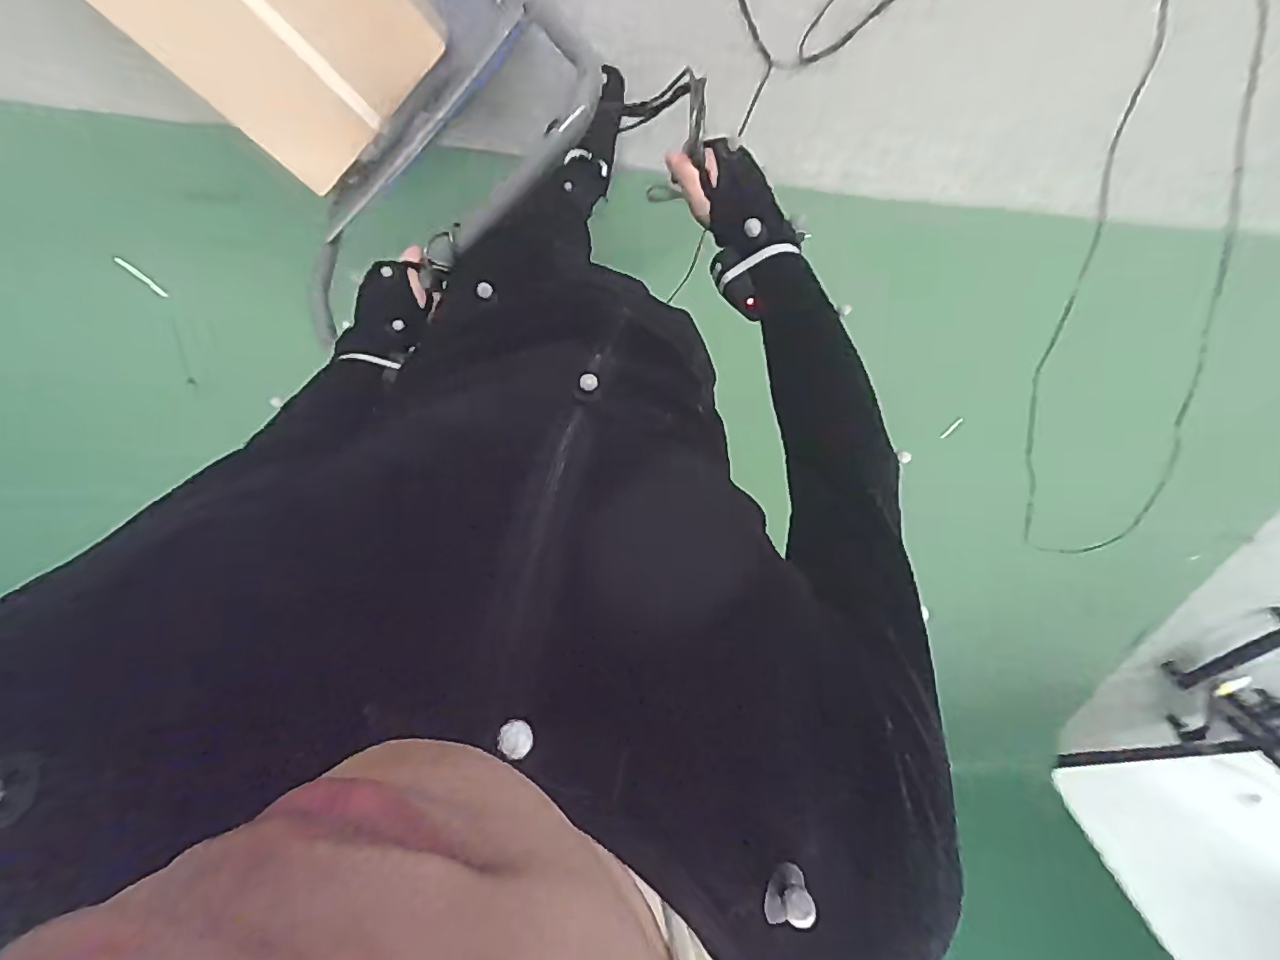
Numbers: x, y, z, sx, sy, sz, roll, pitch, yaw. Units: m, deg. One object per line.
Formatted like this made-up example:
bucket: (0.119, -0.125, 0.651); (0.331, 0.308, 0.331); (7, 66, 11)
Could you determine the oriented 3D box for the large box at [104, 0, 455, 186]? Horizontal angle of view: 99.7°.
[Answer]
large box: (-0.544, -0.756, 0.818); (0.320, 0.320, 0.408); (-36, 132, 17)
